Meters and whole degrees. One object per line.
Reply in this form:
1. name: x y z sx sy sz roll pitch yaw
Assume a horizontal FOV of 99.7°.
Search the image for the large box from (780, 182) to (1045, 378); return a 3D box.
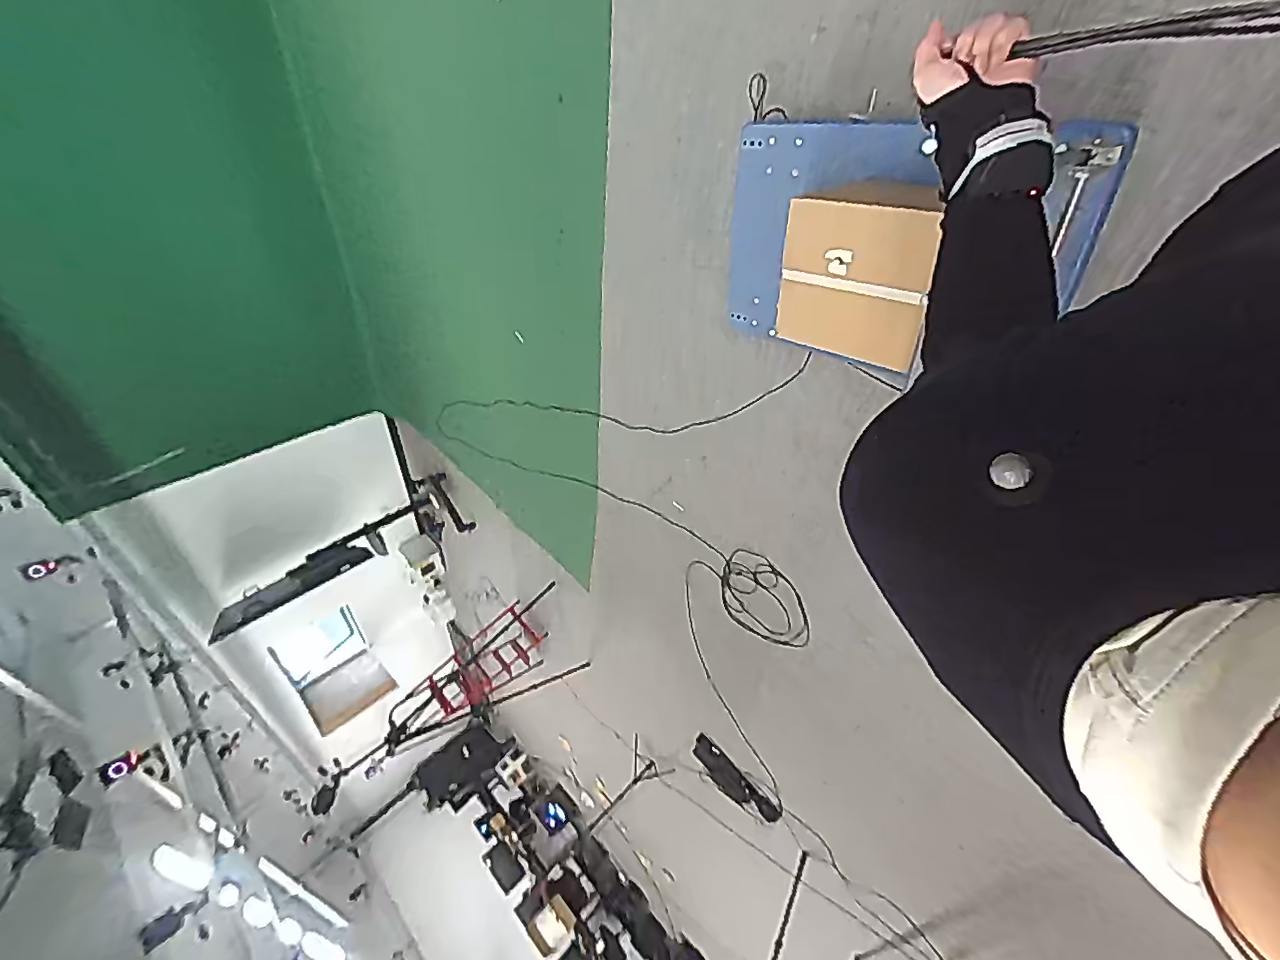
1. large box: 0.581 -0.466 1.204 0.408 0.320 0.320 30 136 37
